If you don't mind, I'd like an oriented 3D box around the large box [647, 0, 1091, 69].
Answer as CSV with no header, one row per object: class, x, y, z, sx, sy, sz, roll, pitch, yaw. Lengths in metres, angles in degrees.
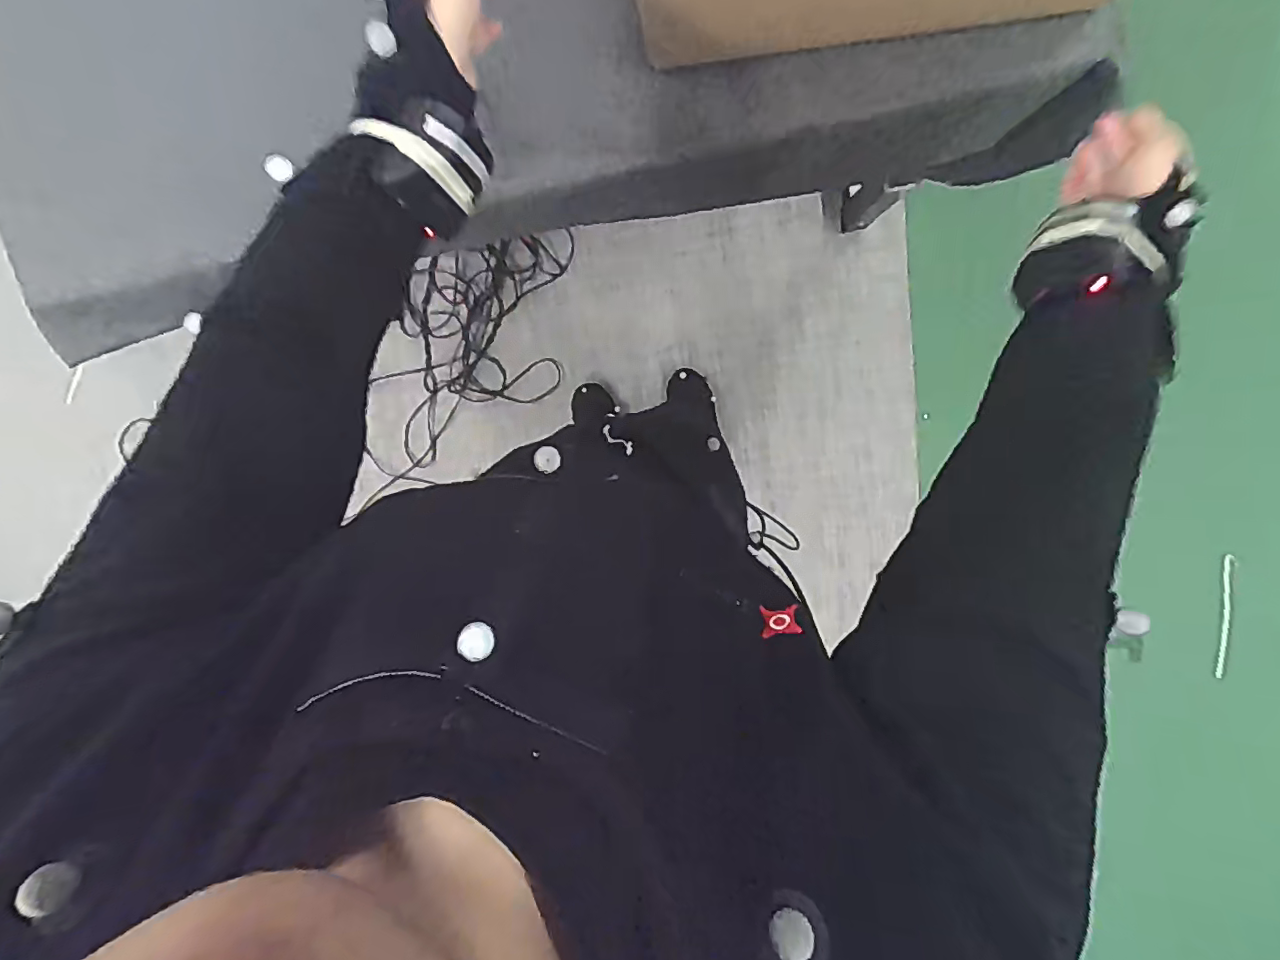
large box,0.182,-0.527,0.330,0.408,0.320,0.320,-3,102,7
